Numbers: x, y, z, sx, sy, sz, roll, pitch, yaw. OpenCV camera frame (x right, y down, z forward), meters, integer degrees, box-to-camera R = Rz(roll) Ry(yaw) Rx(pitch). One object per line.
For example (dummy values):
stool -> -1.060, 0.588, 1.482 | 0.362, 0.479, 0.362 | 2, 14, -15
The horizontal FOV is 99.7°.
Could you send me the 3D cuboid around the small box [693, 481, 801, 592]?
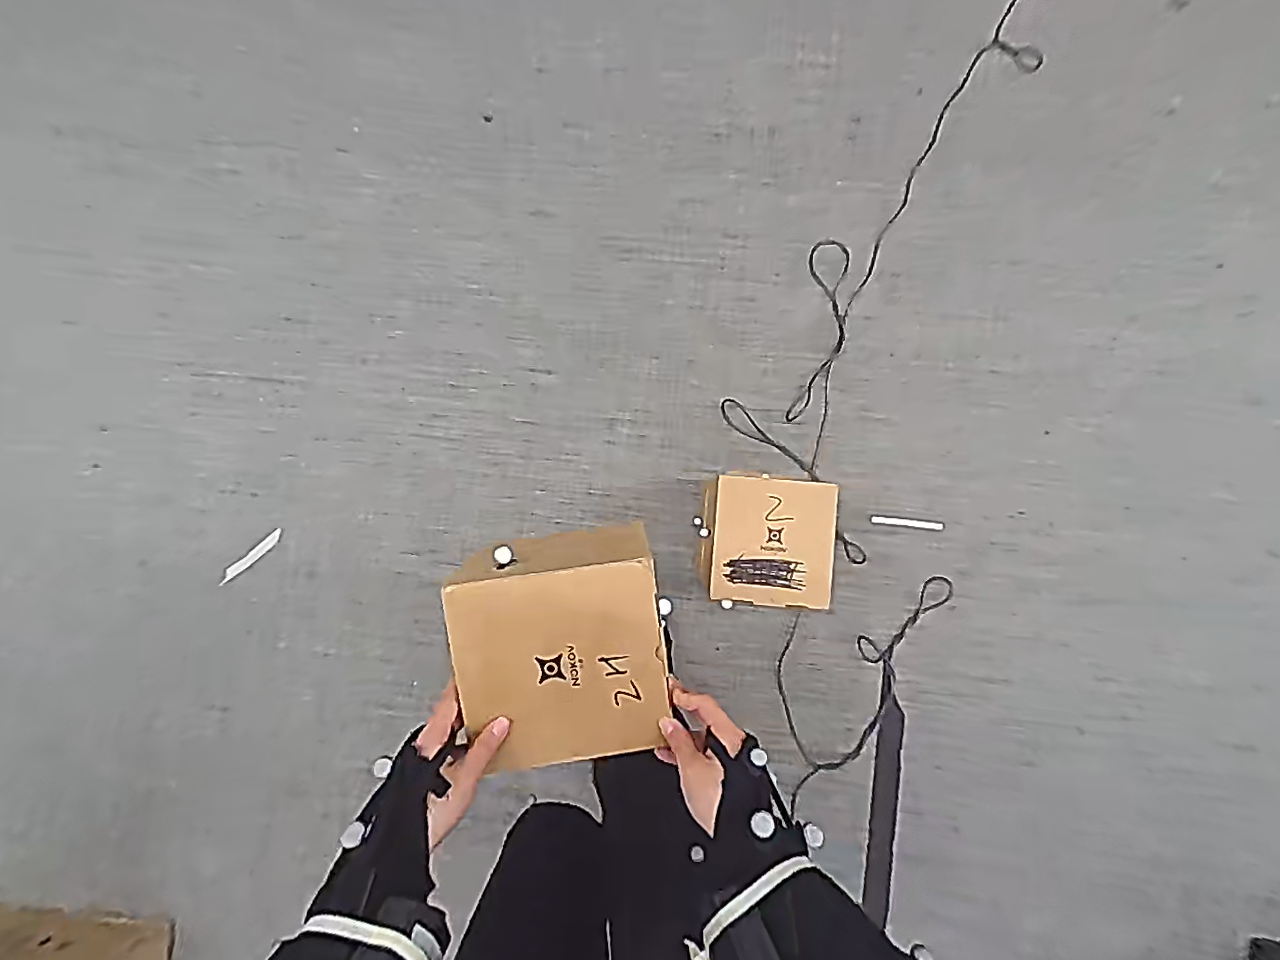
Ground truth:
small box -> 0.186, 0.097, 0.986 | 0.168, 0.176, 0.179 | 4, 88, 3
